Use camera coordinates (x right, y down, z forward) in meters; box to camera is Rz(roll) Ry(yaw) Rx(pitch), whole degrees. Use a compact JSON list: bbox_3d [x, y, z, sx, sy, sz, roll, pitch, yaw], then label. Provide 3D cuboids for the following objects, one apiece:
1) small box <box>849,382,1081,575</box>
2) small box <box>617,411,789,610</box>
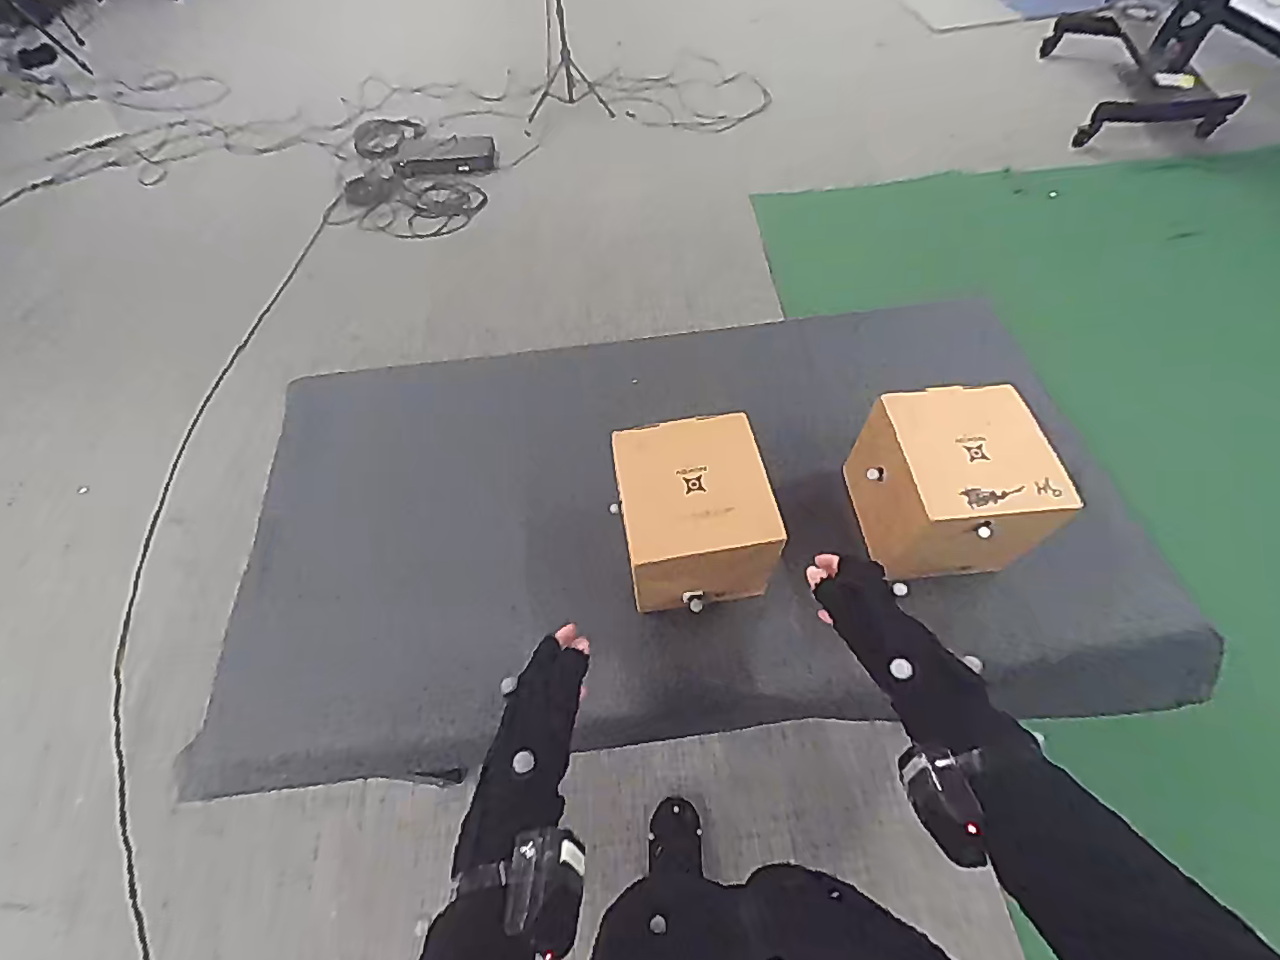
[{"bbox_3d":[0.382,0.002,0.680,0.168,0.176,0.179,-5,57,1],"label":"small box"},{"bbox_3d":[0.068,0.042,0.676,0.168,0.176,0.179,-10,59,-2],"label":"small box"}]
